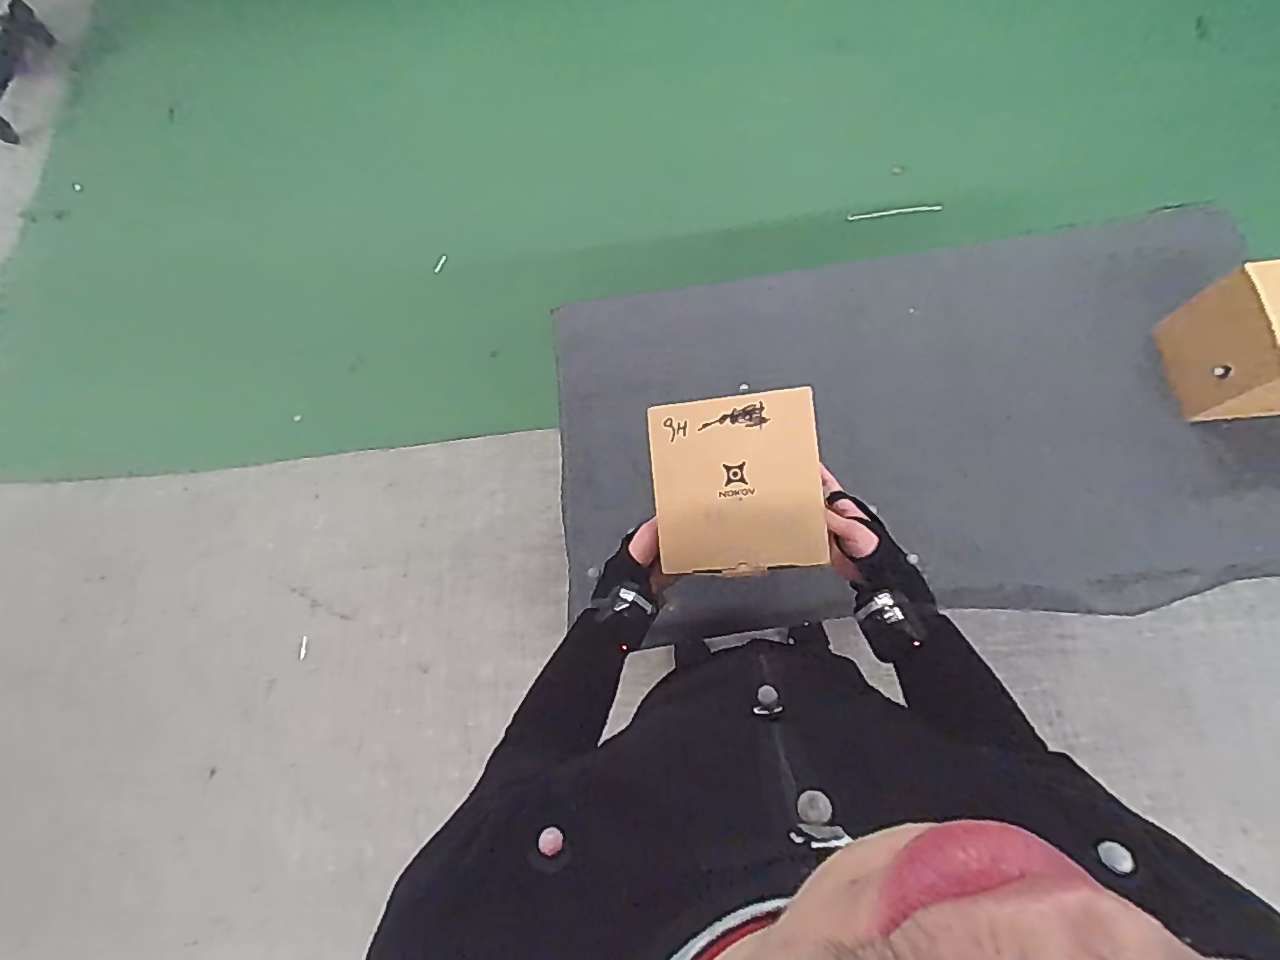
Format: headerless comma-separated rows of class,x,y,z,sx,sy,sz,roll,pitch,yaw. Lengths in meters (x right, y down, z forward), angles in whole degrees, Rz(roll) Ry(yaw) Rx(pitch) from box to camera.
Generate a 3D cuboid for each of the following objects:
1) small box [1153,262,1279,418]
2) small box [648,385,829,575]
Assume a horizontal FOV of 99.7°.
small box,0.934,-0.200,0.801,0.168,0.176,0.179,-4,72,3
small box,0.110,0.005,0.604,0.168,0.176,0.179,-6,86,12
